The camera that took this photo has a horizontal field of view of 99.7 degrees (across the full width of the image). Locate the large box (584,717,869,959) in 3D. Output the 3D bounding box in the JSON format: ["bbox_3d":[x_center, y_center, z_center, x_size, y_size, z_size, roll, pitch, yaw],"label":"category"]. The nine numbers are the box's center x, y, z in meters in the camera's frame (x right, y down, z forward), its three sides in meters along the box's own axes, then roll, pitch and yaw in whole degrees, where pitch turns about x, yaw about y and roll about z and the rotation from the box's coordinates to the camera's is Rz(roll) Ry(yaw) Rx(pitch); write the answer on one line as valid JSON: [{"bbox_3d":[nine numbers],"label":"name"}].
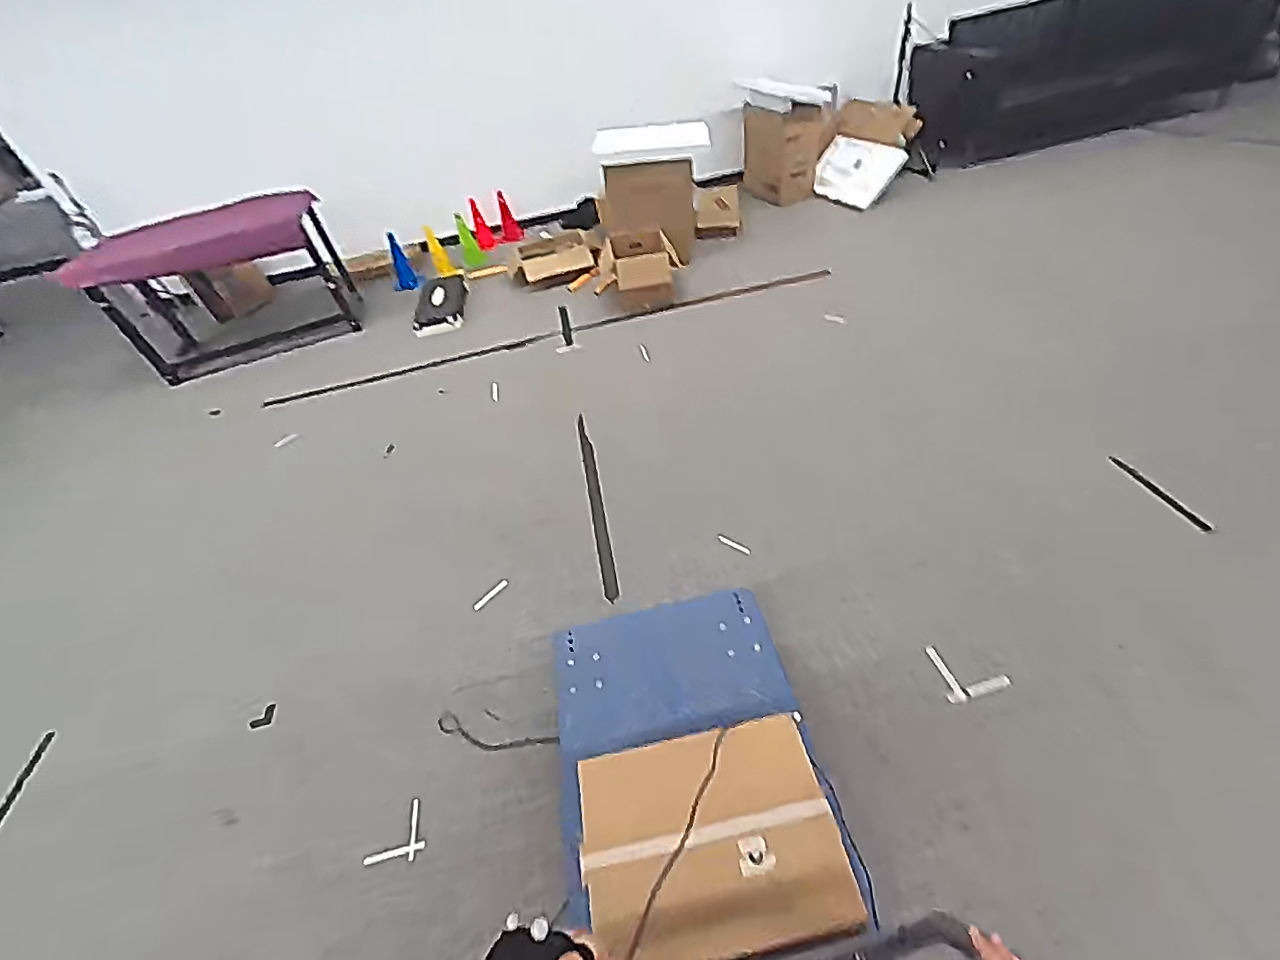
[{"bbox_3d":[0.134,0.690,0.985,0.408,0.320,0.320,-12,44,-2],"label":"large box"}]
